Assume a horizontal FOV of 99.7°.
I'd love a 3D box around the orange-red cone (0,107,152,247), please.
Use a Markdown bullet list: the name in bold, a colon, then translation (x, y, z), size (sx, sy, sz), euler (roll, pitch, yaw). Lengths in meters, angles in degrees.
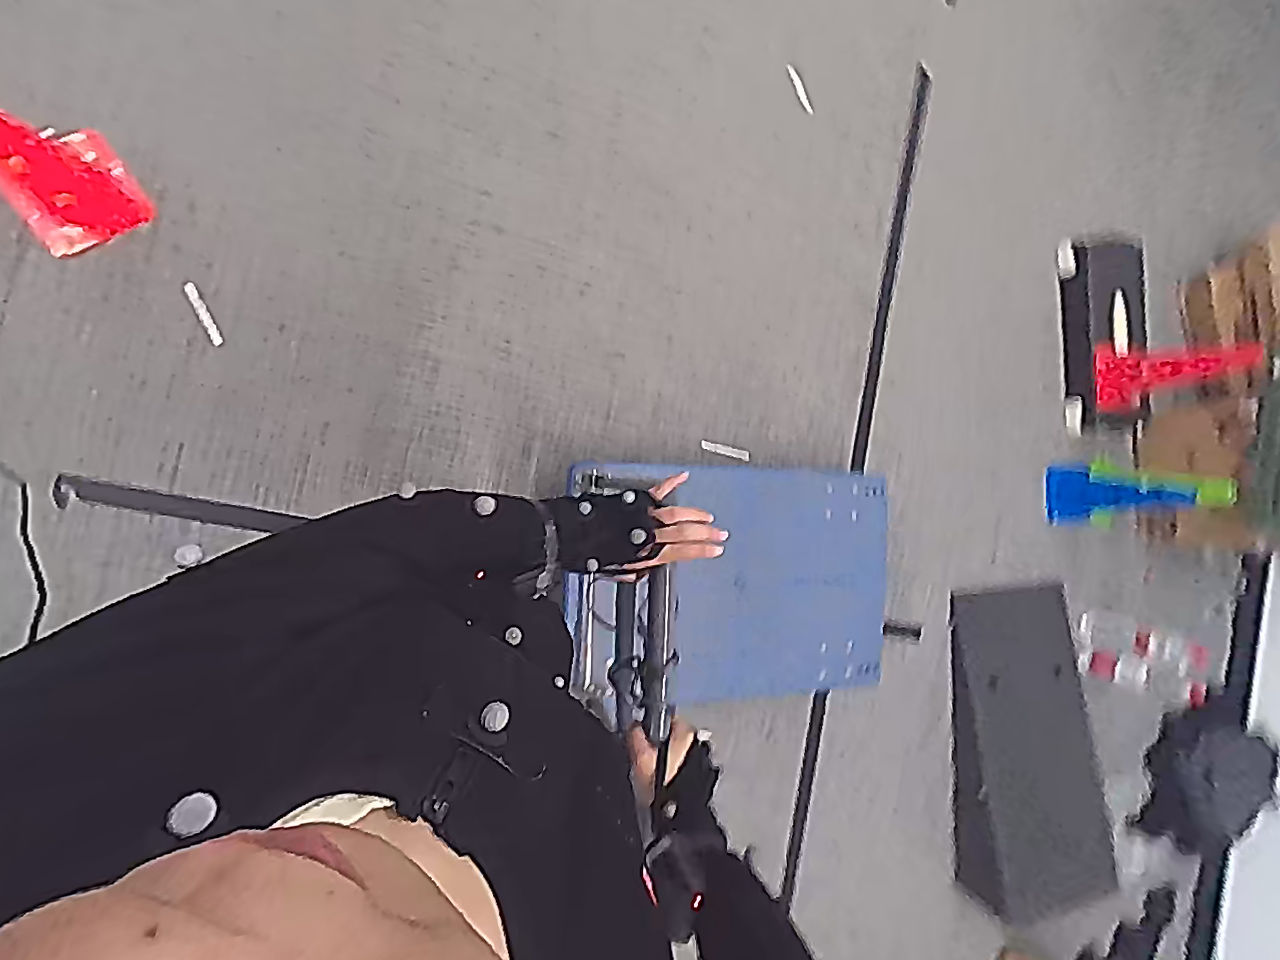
- **orange-red cone**: translation (-1.075, -0.582, 0.919), size (0.198, 0.360, 0.199), euler (-33, 101, -13)
